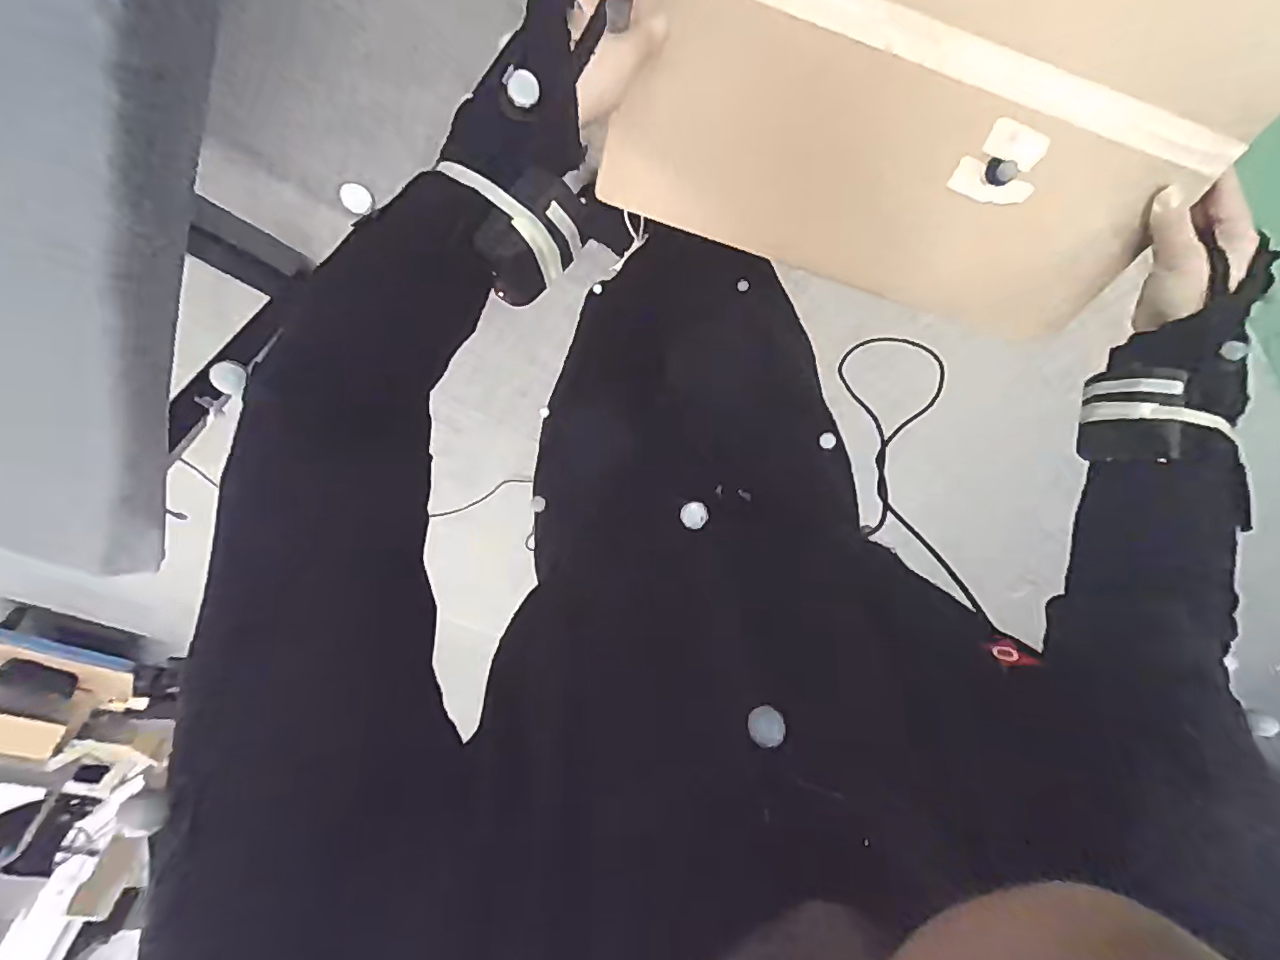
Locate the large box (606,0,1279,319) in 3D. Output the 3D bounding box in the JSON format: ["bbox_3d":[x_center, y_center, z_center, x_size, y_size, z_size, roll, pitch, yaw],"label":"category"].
[{"bbox_3d":[0.211,-0.386,0.426,0.408,0.320,0.320,14,139,-7],"label":"large box"}]
